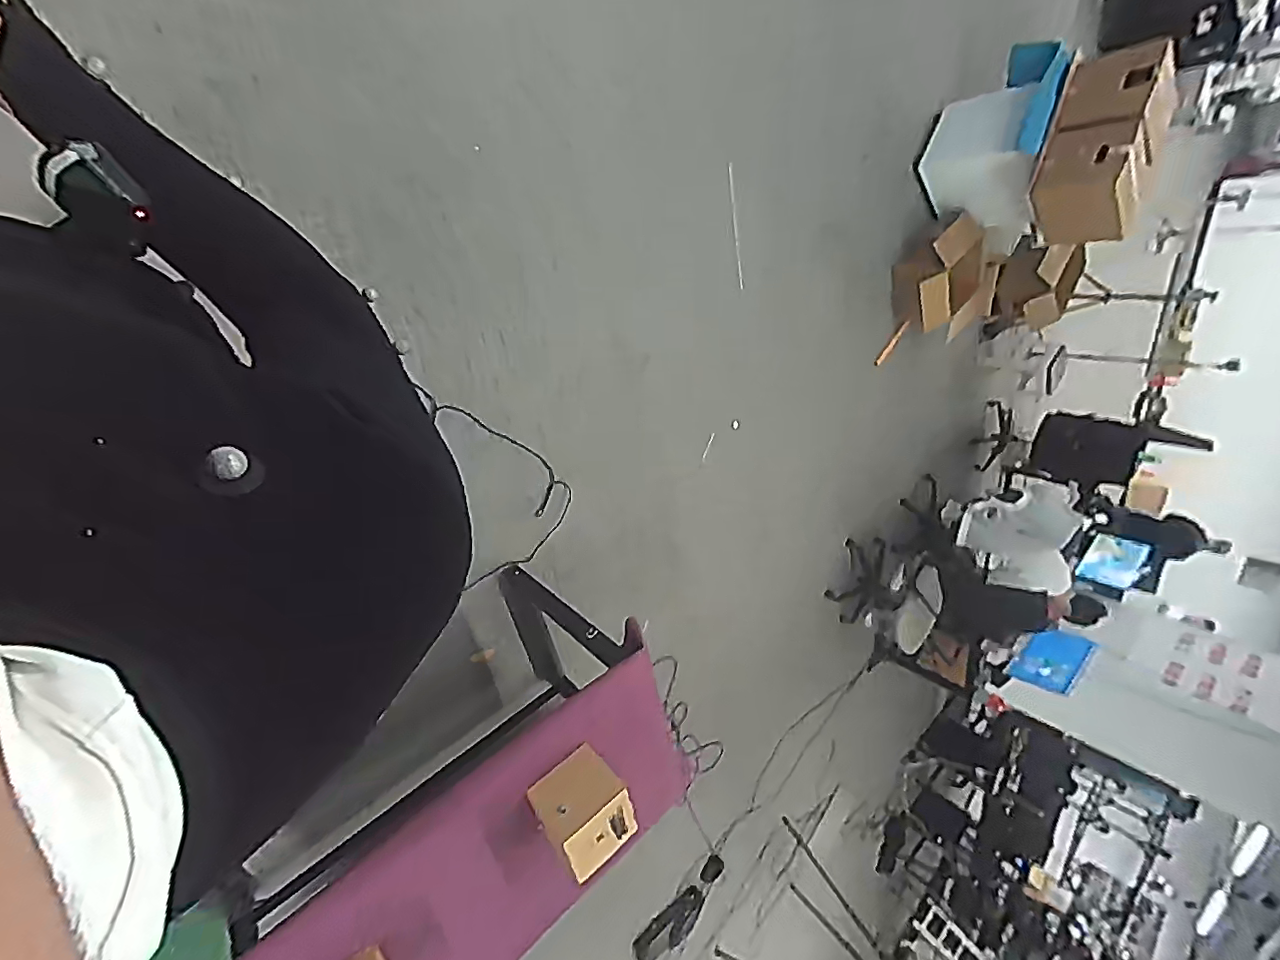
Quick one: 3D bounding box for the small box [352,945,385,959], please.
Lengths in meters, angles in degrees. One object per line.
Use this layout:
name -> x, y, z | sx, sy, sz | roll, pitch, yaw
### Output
small box -> -0.546, 1.062, 1.028 | 0.179, 0.176, 0.168 | -27, 121, -35
